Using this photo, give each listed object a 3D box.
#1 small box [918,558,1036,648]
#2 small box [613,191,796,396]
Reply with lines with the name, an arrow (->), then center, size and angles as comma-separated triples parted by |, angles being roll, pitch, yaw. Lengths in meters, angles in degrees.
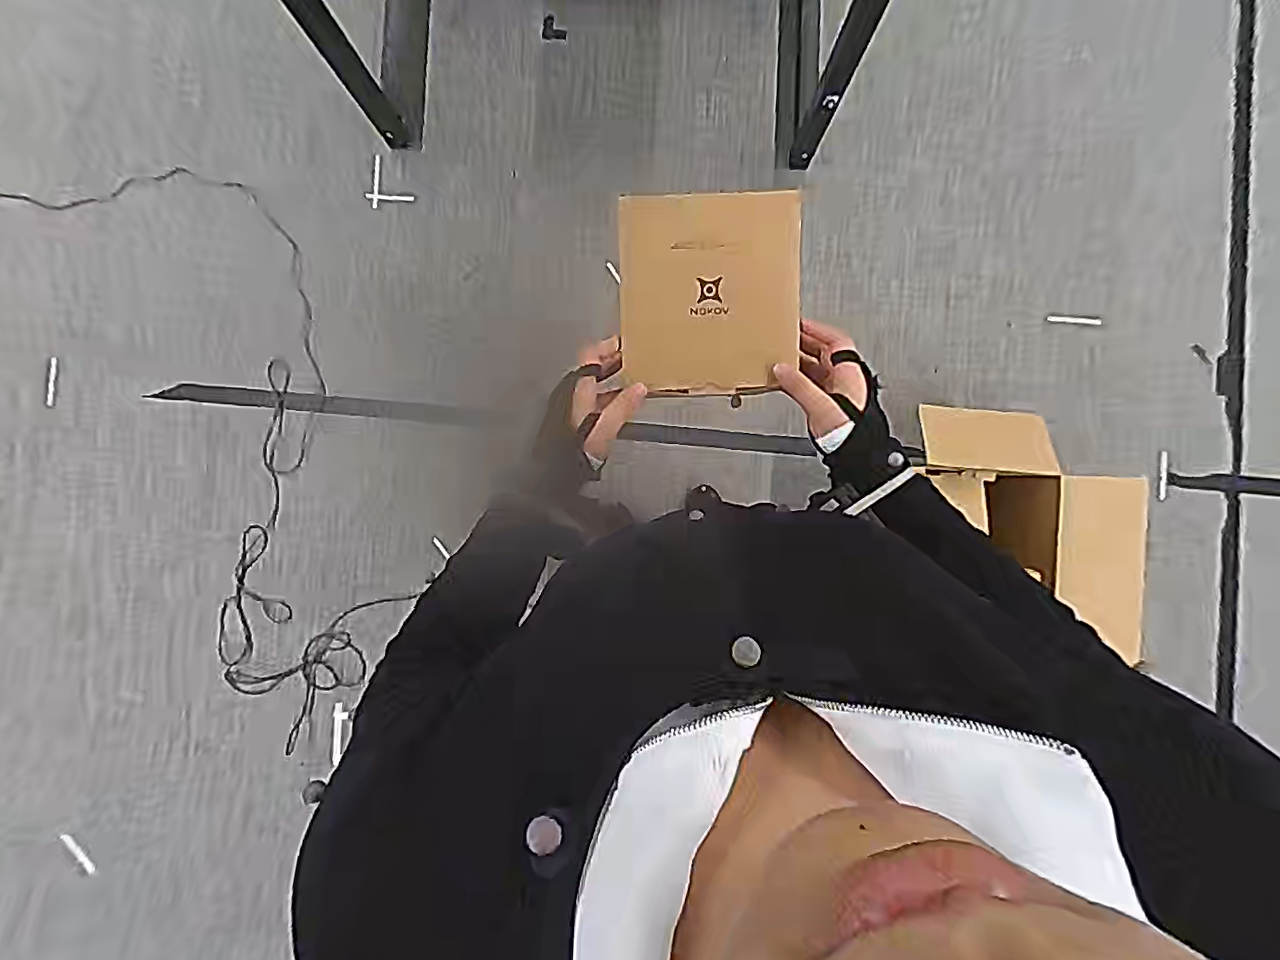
small box -> 0.757, 0.275, 1.233 | 0.179, 0.176, 0.168 | -2, 93, 1
small box -> 0.060, -0.179, 0.570 | 0.168, 0.176, 0.179 | -2, 97, 0
